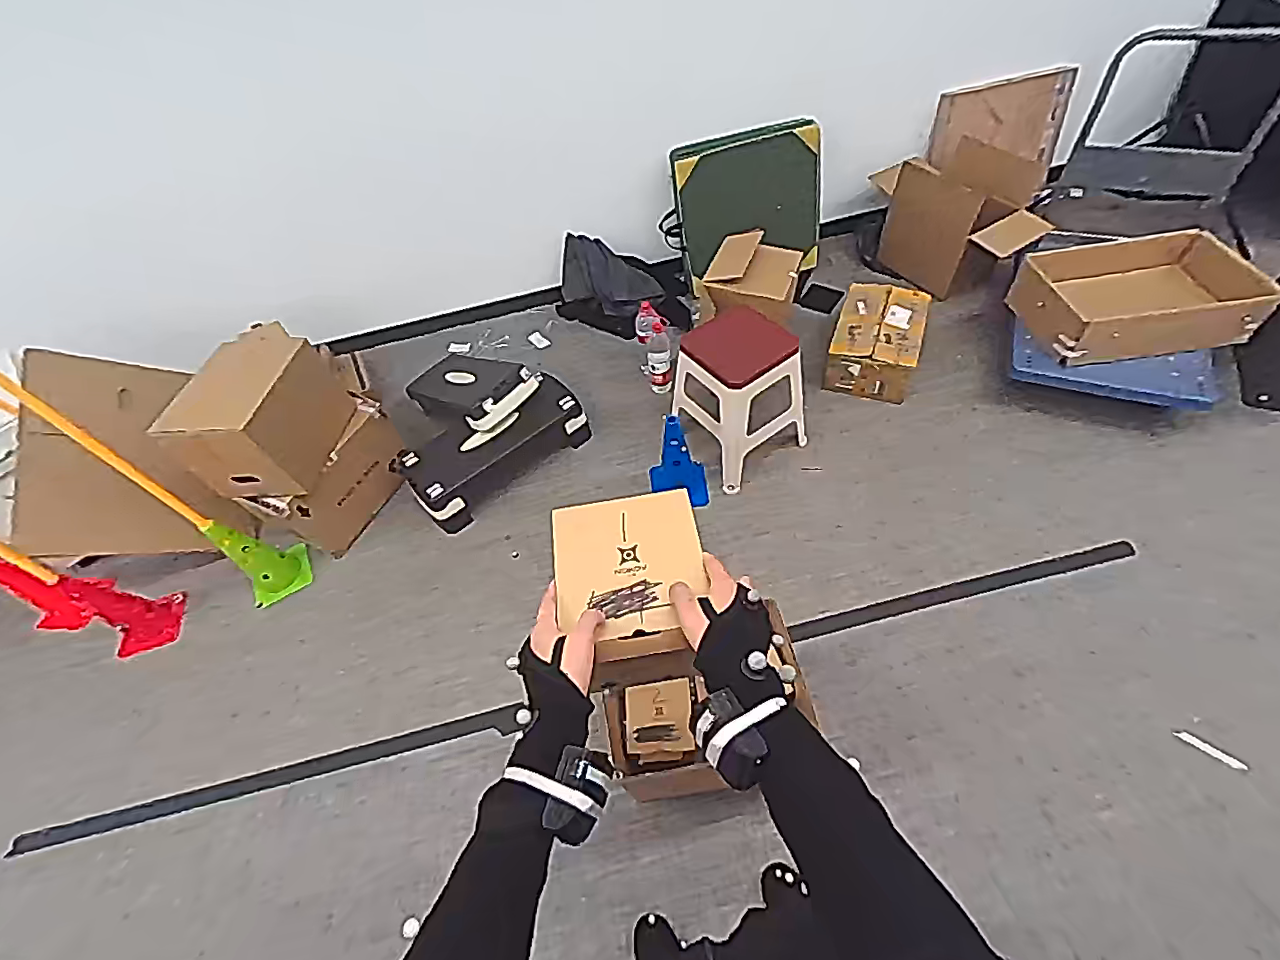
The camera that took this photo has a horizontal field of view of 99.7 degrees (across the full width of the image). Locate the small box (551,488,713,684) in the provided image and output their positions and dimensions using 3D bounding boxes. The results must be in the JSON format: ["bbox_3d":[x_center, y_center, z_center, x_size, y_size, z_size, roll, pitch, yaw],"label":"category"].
[{"bbox_3d":[-0.008,0.137,0.662,0.168,0.176,0.179,-9,54,-1],"label":"small box"}]
